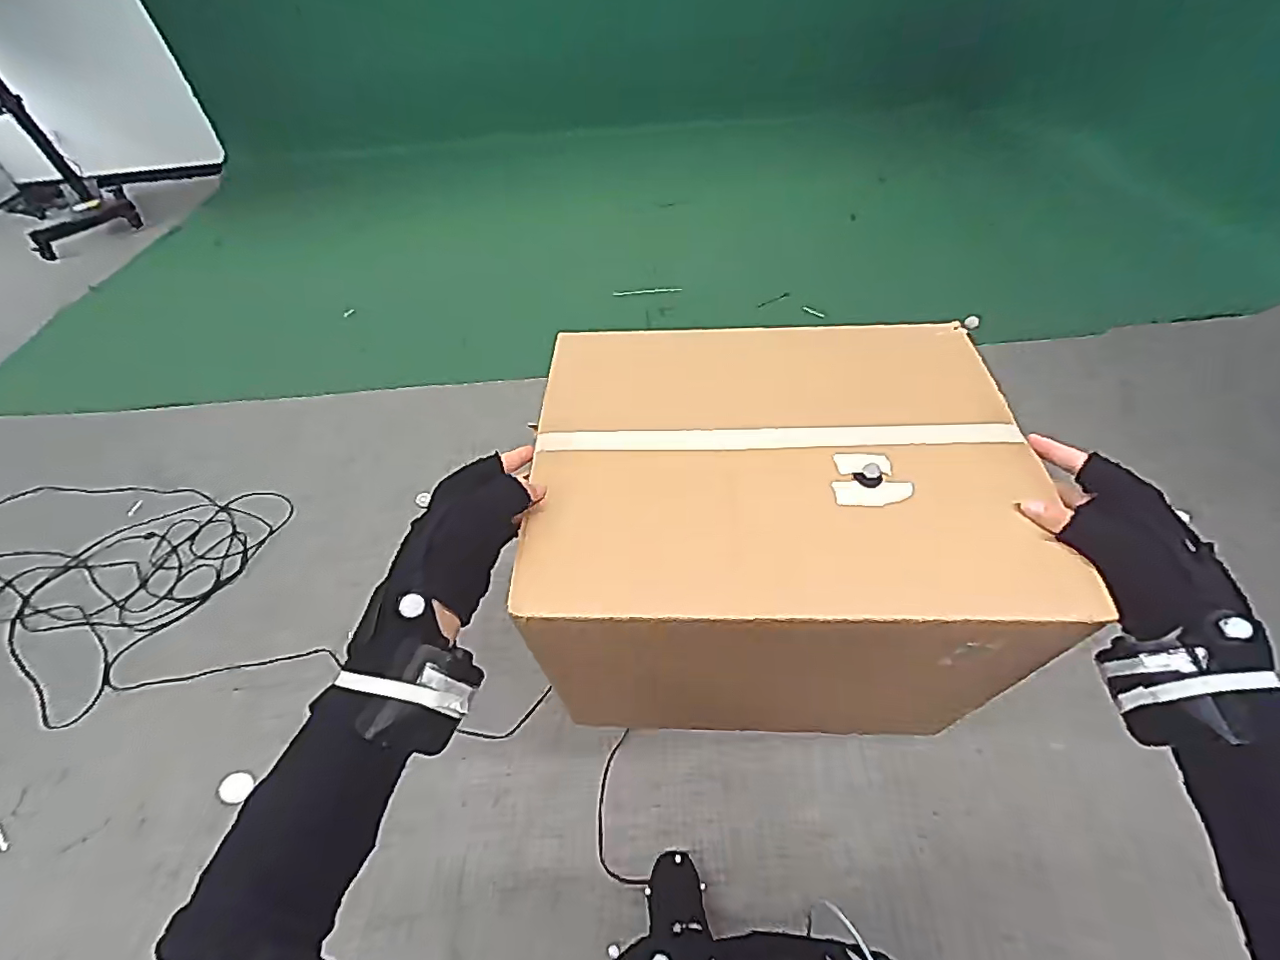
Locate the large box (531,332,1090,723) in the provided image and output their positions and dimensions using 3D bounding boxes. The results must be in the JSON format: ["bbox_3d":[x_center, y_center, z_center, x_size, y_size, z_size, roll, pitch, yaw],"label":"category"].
[{"bbox_3d":[0.123,0.062,0.589,0.408,0.320,0.320,-1,53,3],"label":"large box"}]
